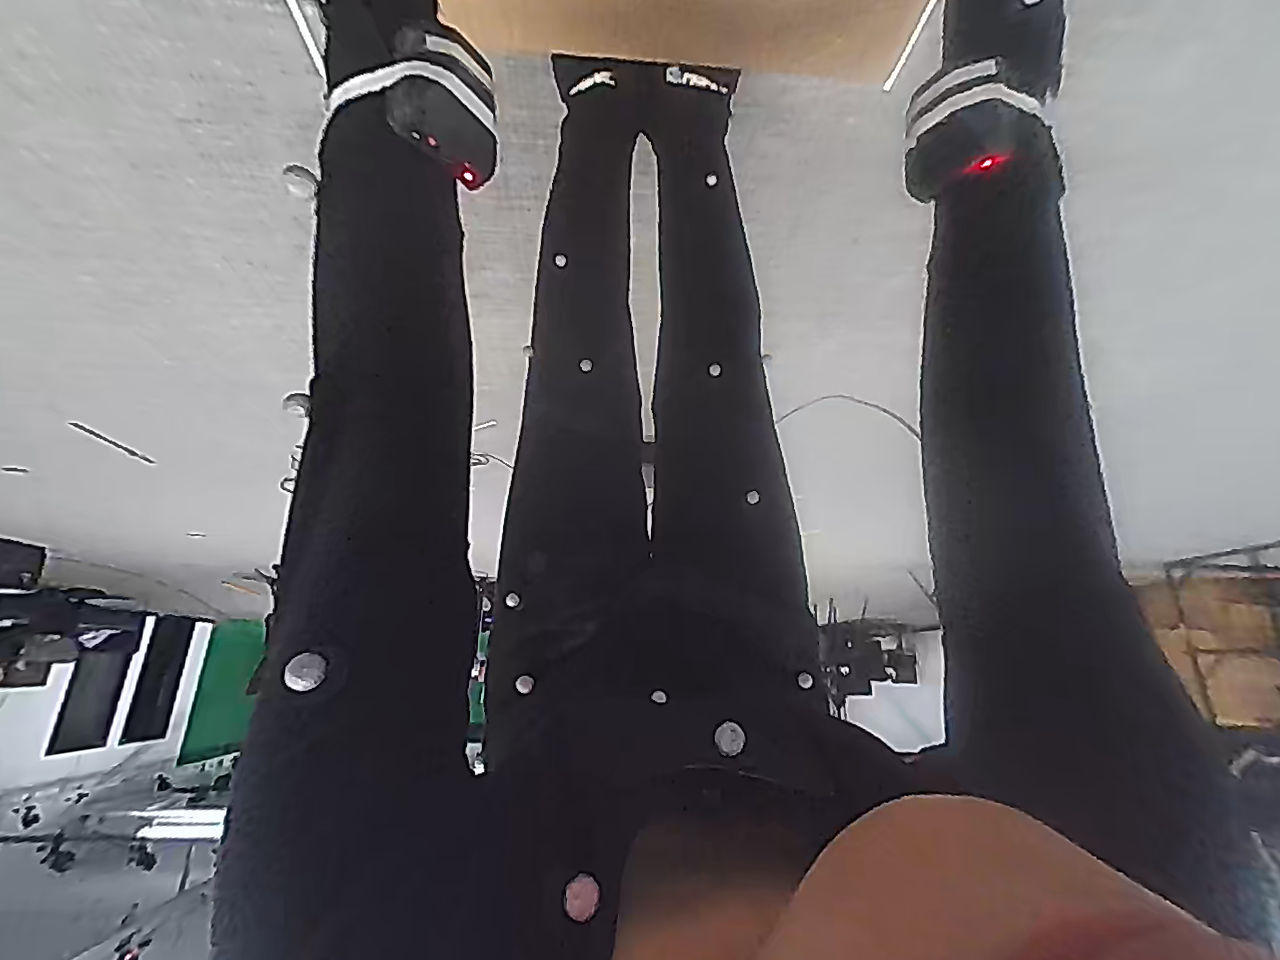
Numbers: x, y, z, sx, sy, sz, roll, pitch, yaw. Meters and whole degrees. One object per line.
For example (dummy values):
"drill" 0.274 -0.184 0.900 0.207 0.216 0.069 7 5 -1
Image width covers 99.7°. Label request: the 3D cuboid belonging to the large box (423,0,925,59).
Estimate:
"large box" 0.032 -0.556 0.362 0.408 0.320 0.320 1 161 -4
